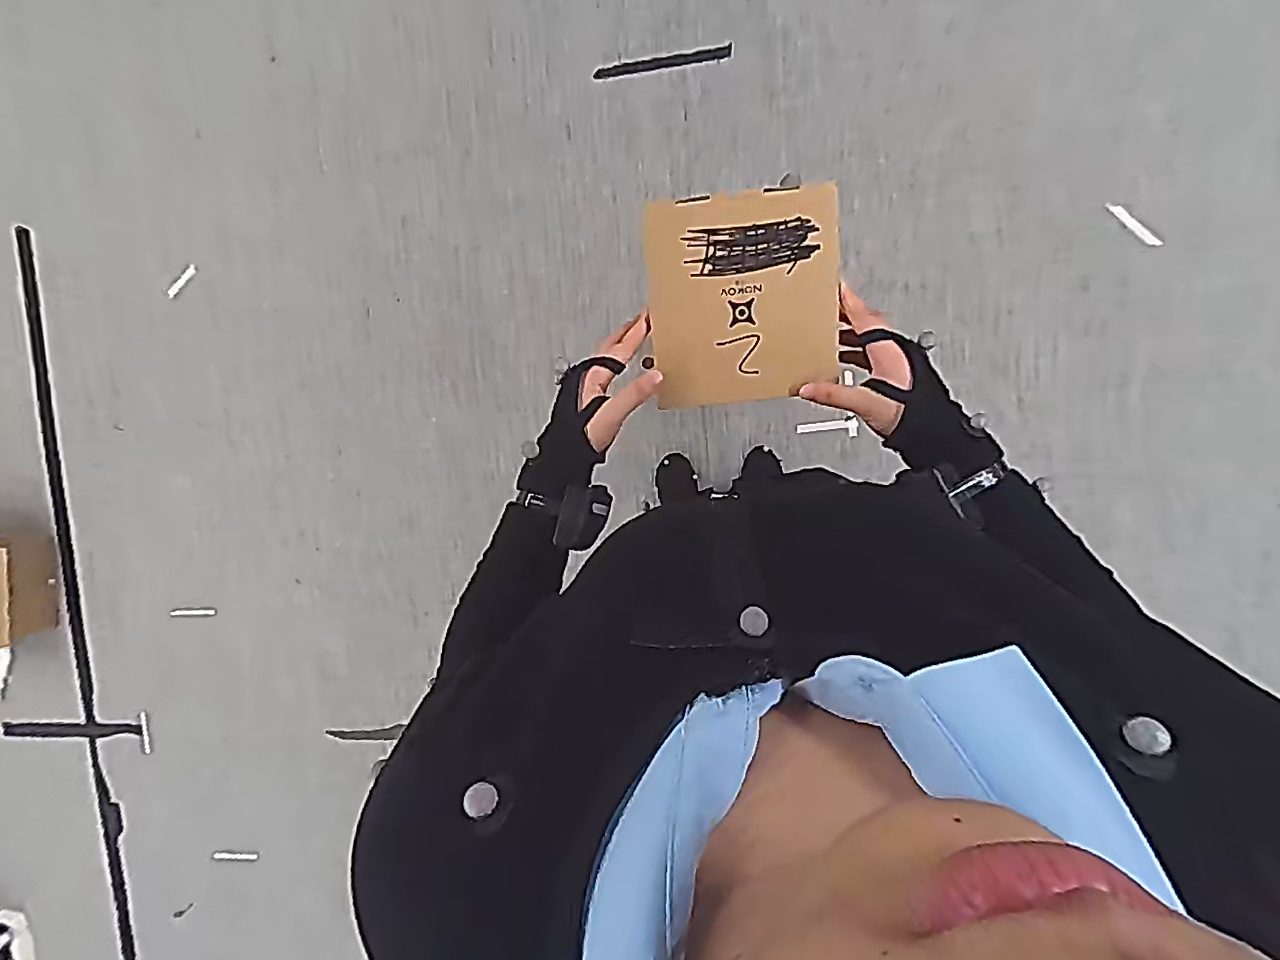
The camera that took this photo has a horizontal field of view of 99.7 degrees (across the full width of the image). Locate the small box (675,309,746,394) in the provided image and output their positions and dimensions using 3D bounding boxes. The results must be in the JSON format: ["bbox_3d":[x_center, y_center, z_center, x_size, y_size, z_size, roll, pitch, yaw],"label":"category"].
[{"bbox_3d":[0.177,-0.323,1.389,0.168,0.176,0.179,-5,94,6],"label":"small box"}]
